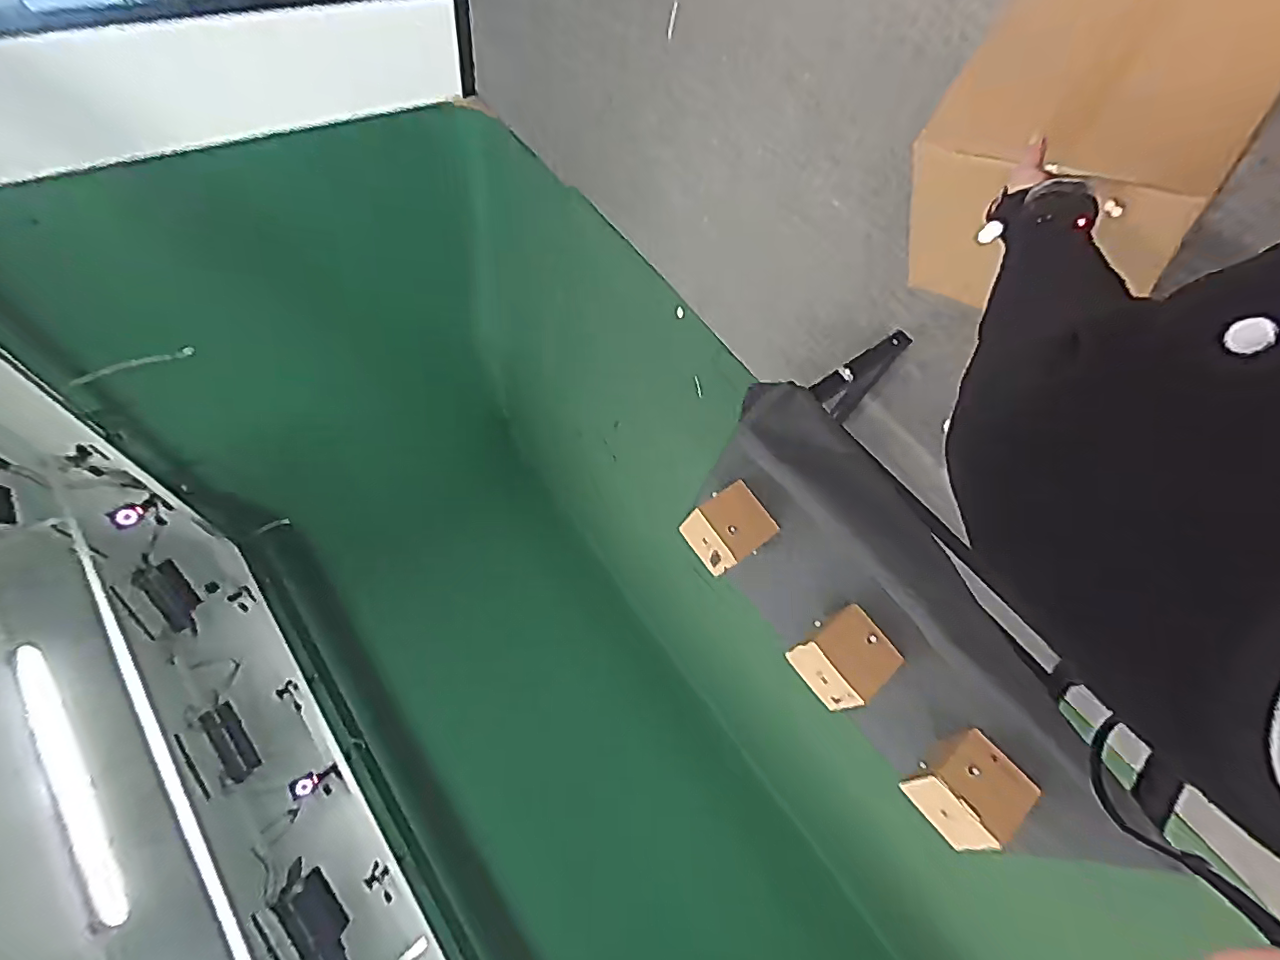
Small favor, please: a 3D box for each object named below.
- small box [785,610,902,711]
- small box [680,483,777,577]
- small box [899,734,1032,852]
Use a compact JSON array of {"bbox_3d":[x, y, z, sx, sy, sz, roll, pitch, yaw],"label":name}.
[{"bbox_3d":[0.511,0.450,1.364,0.179,0.176,0.168,53,154,16],"label":"small box"},{"bbox_3d":[0.246,0.139,1.505,0.179,0.176,0.168,54,154,12],"label":"small box"},{"bbox_3d":[0.739,0.705,1.226,0.168,0.176,0.179,49,155,26],"label":"small box"}]
